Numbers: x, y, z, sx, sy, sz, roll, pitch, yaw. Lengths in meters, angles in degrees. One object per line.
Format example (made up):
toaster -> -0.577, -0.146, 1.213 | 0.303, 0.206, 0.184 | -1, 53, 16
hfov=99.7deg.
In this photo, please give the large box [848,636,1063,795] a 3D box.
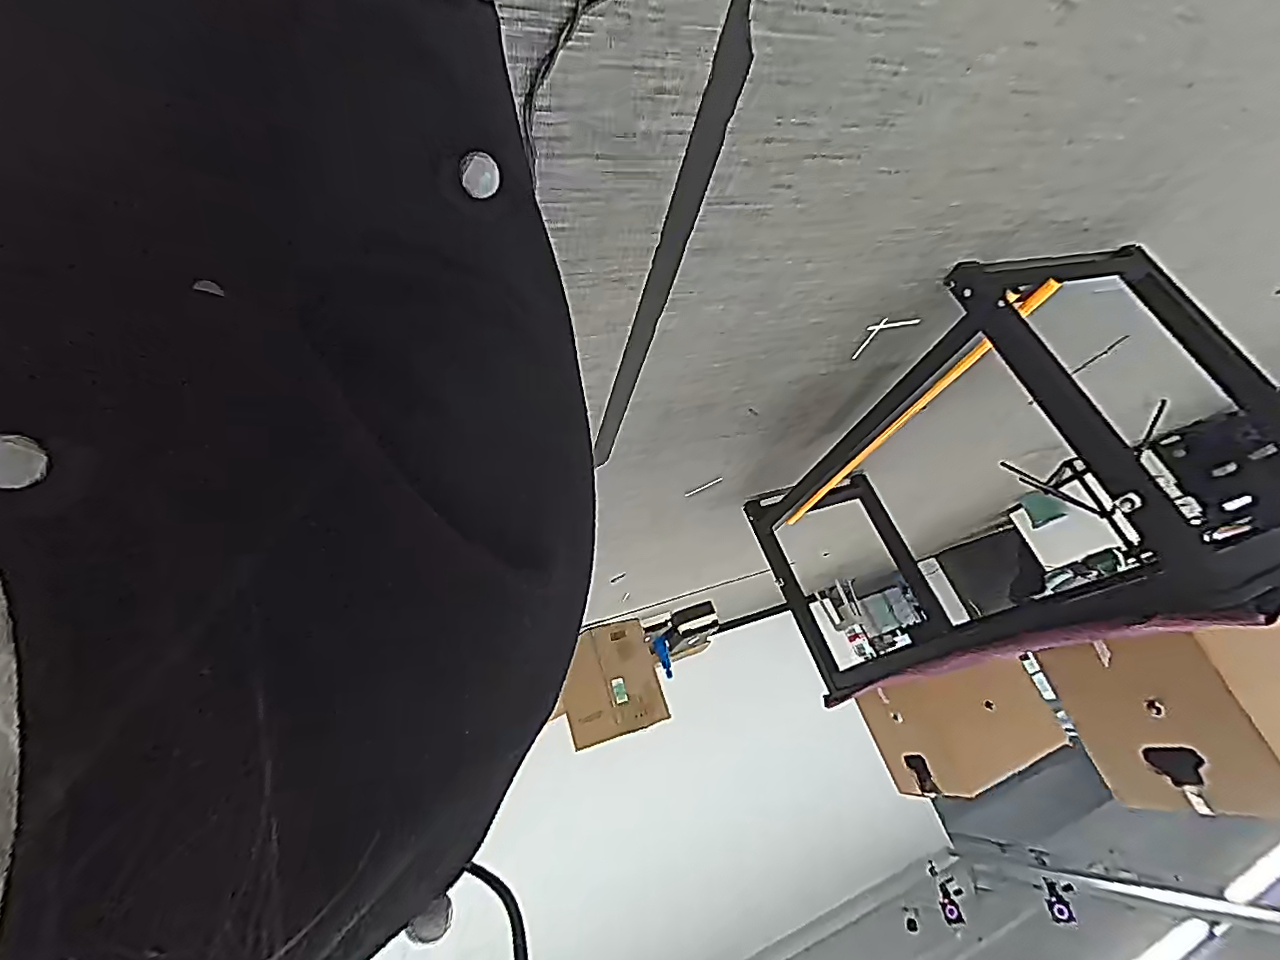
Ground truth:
large box -> 0.938, 0.716, 1.654 | 0.408, 0.320, 0.320 | -13, 157, -20
